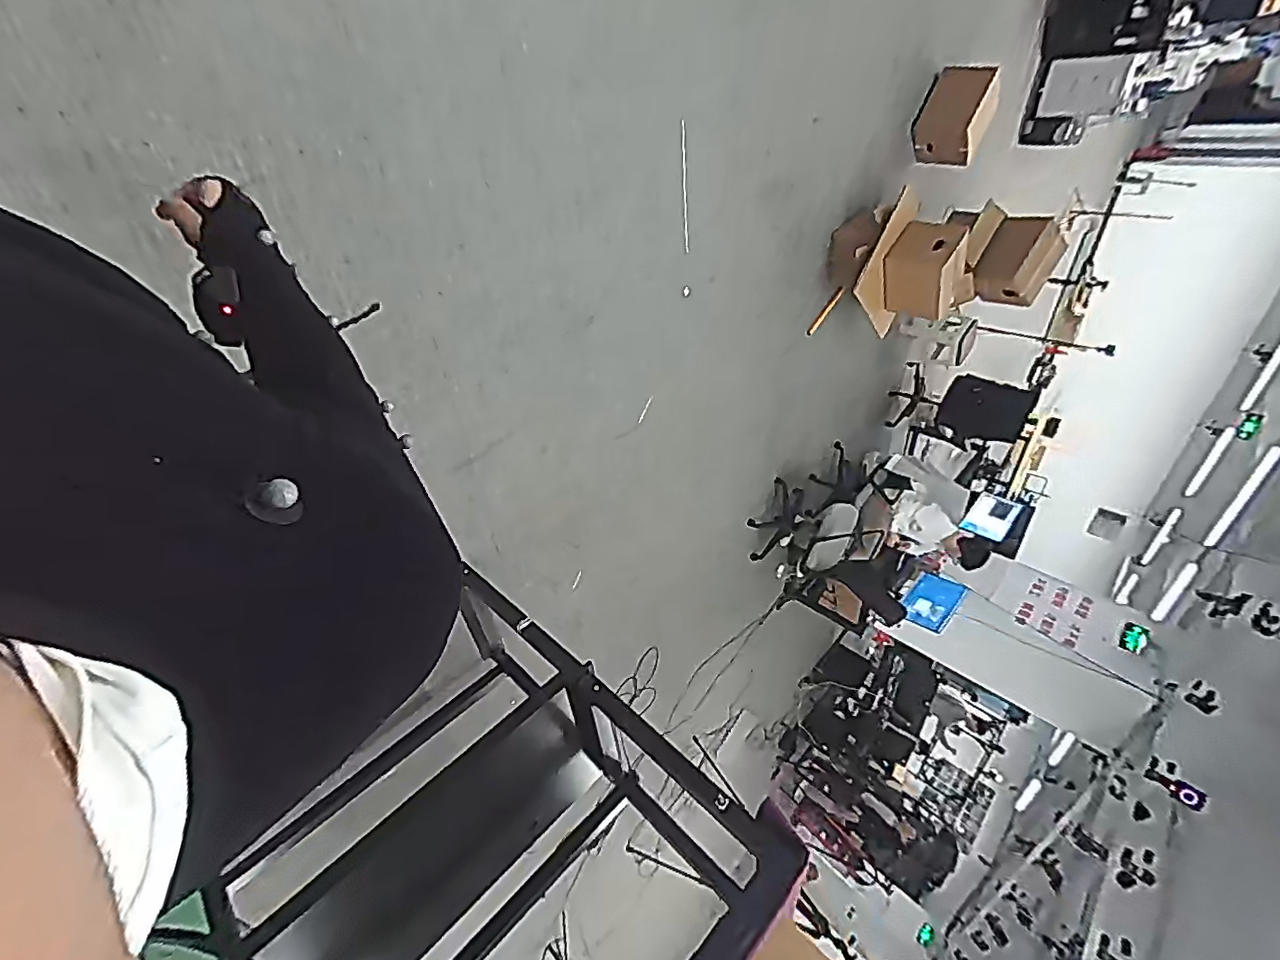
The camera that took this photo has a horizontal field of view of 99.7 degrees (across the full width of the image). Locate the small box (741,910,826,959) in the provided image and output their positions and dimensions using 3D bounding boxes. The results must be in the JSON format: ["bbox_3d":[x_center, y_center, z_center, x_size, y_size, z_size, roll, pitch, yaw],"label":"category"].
[{"bbox_3d":[0.295,1.064,1.129,0.179,0.176,0.168,-35,136,-31],"label":"small box"}]
